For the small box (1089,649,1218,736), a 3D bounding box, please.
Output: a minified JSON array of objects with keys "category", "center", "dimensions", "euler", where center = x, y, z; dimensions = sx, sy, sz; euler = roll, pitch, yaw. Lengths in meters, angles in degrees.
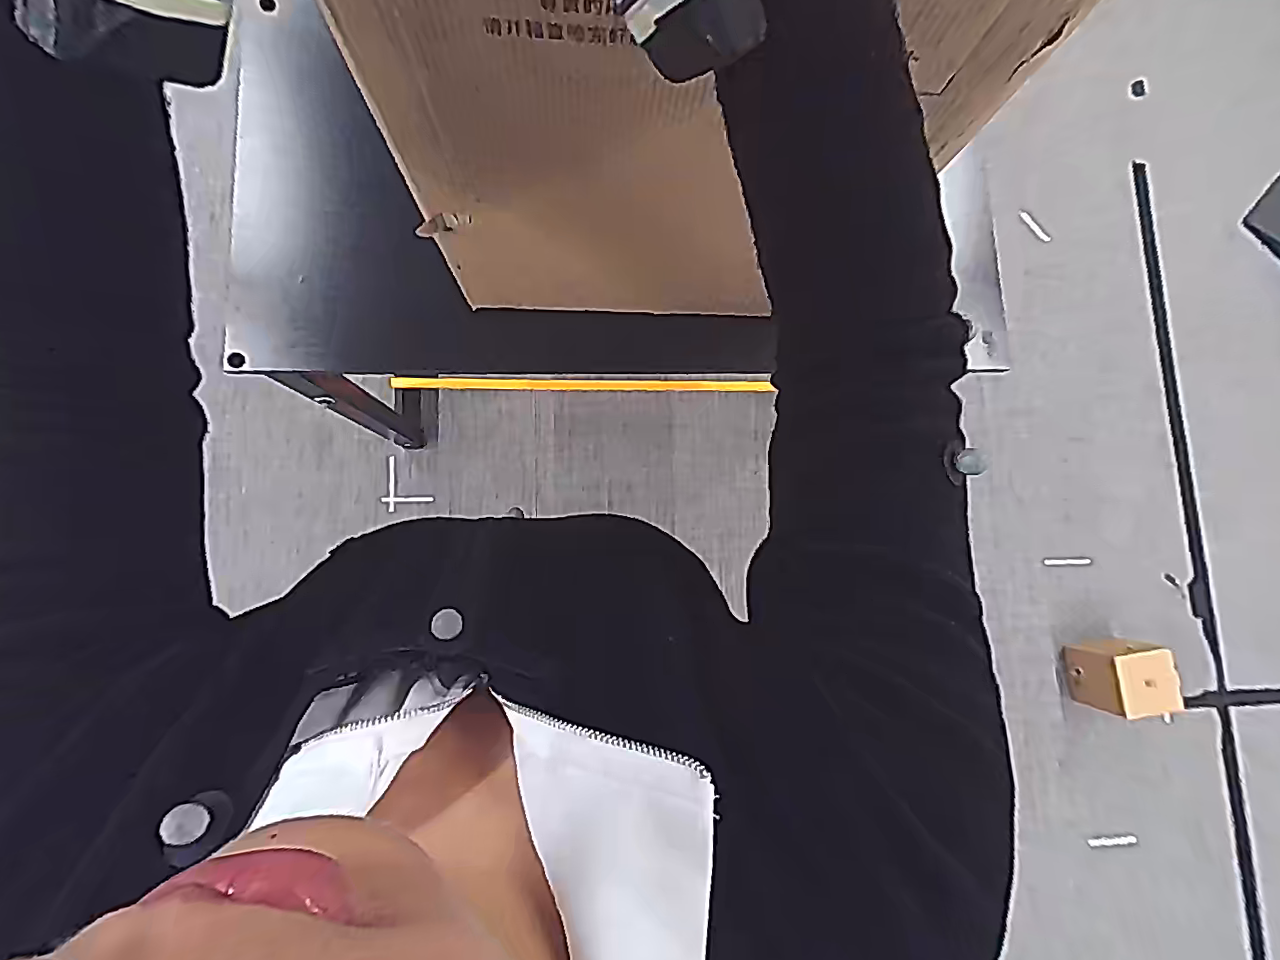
[{"category":"small box","center":[1.381,0.567,1.464],"dimensions":[0.179,0.176,0.168],"euler":[-8,84,-5]}]
